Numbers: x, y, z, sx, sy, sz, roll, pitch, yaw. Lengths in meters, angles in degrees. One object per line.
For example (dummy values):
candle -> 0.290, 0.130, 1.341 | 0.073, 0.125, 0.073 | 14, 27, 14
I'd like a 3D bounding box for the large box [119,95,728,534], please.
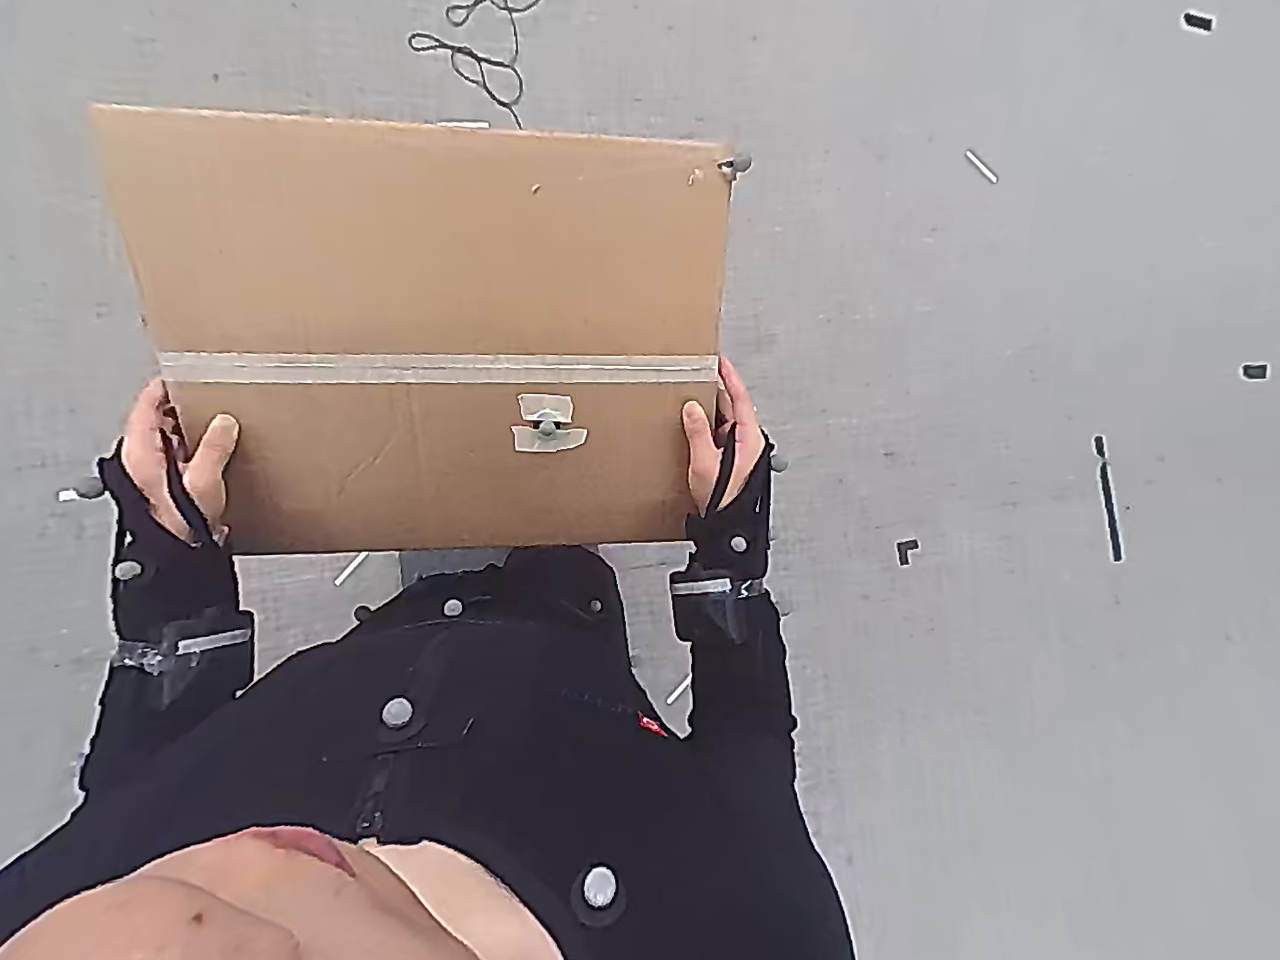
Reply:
large box -> -0.156, -0.159, 0.554 | 0.408, 0.320, 0.320 | -1, 113, -8
